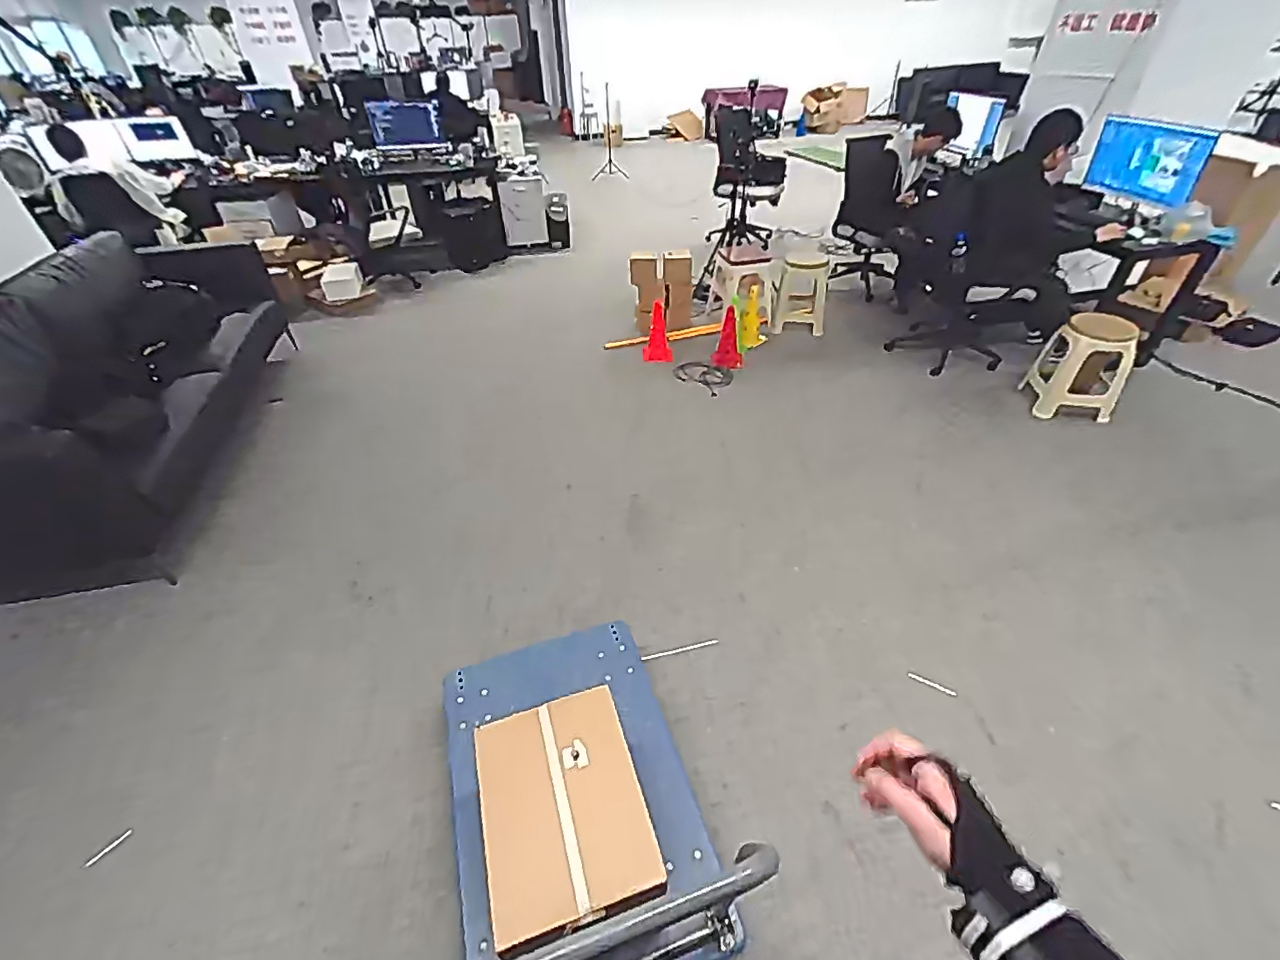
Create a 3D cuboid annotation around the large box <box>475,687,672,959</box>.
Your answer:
[{"bbox_3d":[-0.146,0.751,1.177,0.320,0.320,0.408,-14,40,-14],"label":"large box"}]
